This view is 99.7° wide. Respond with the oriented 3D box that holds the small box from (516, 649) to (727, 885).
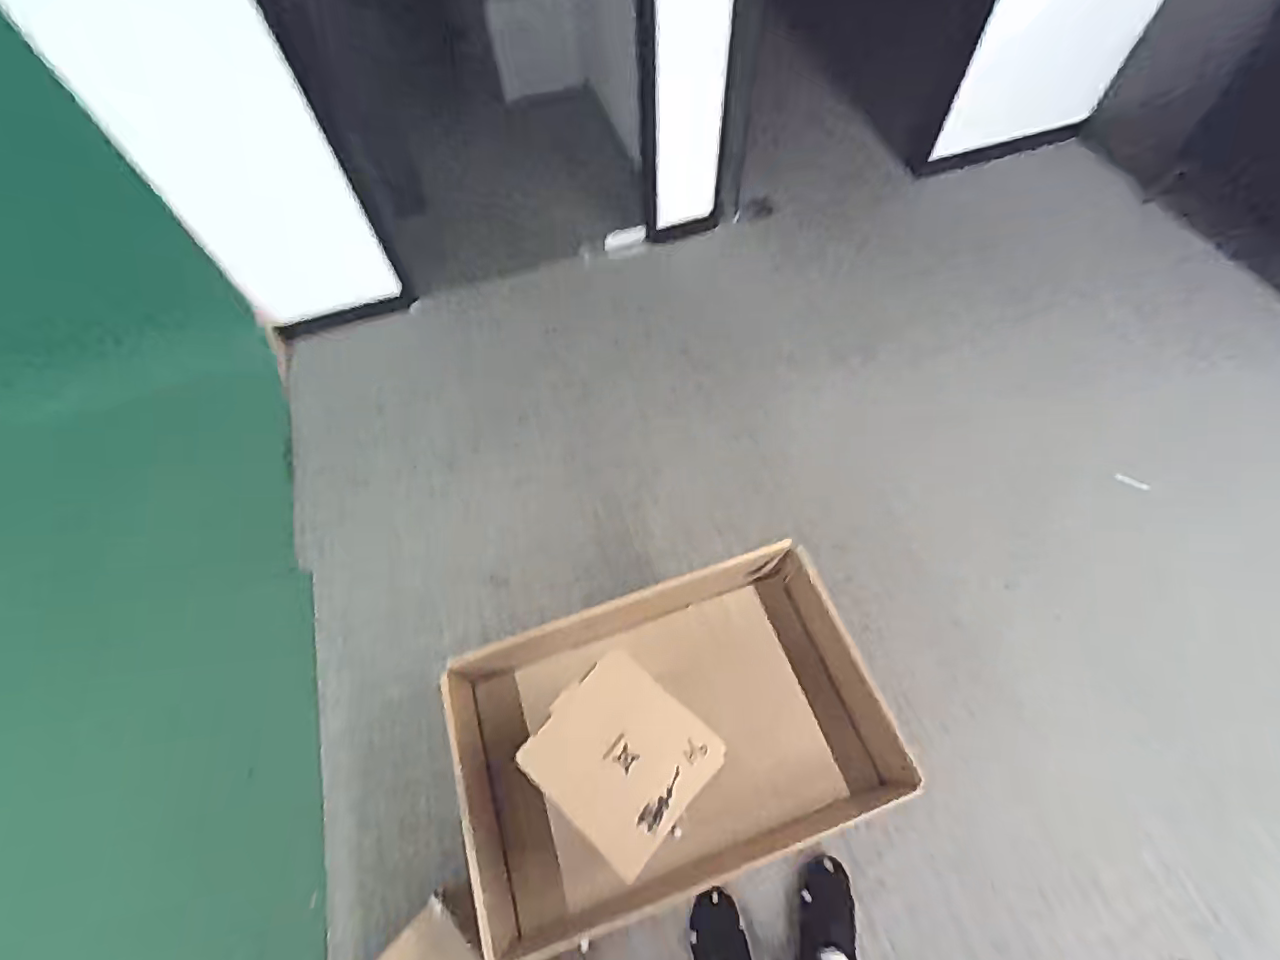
[{"bbox_3d":[-0.019,0.342,0.657,0.179,0.176,0.168,36,68,21],"label":"small box"}]
